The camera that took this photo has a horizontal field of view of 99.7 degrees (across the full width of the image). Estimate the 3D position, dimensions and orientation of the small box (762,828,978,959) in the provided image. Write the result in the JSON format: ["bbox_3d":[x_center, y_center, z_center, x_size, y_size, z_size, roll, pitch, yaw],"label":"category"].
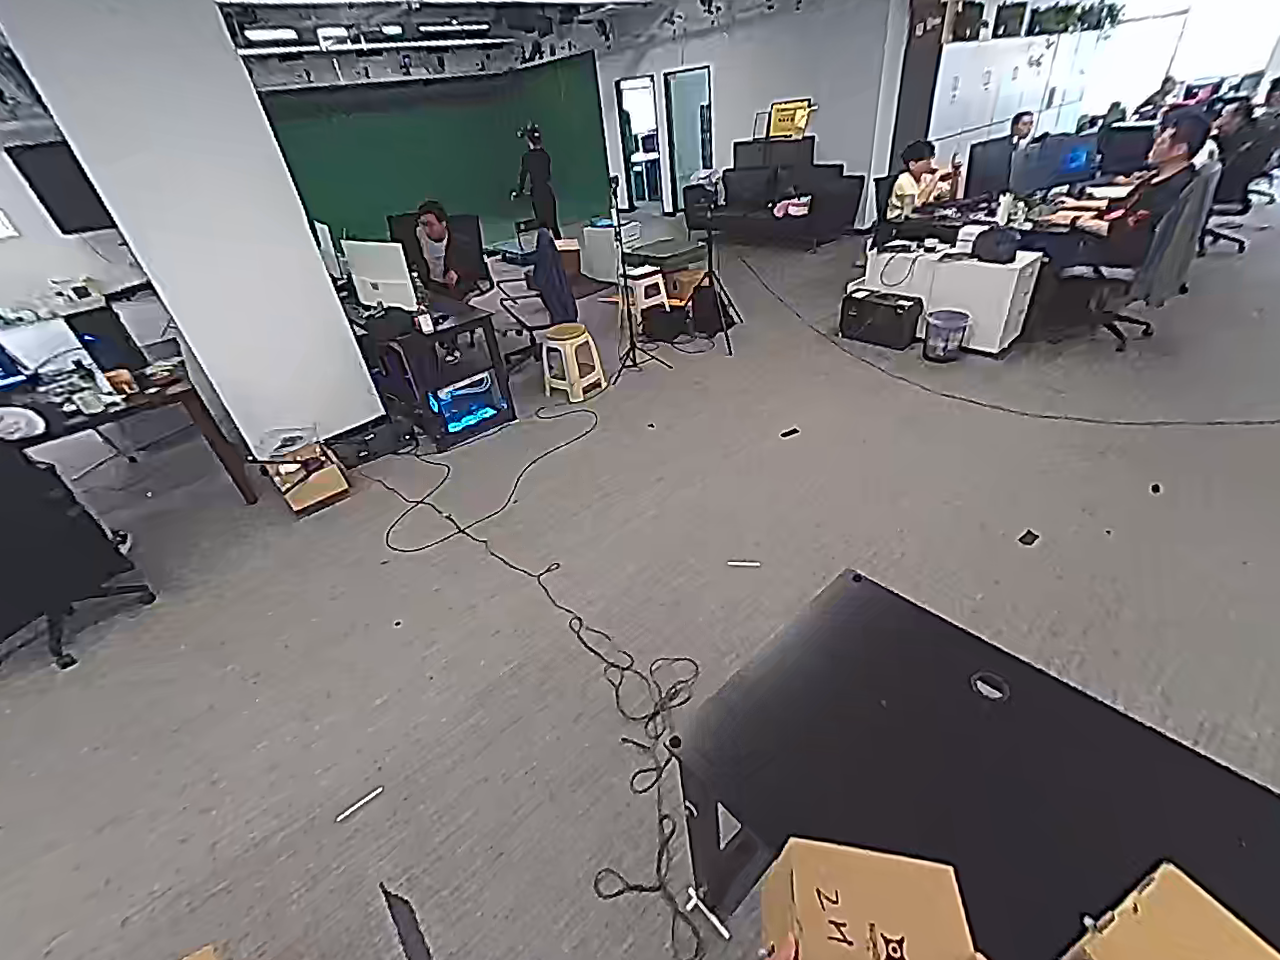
[{"bbox_3d":[0.233,0.505,0.572,0.179,0.176,0.168,6,38,5],"label":"small box"}]

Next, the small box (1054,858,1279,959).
[{"bbox_3d":[0.588,0.568,0.581,0.168,0.176,0.179,-21,36,-19],"label":"small box"}]
